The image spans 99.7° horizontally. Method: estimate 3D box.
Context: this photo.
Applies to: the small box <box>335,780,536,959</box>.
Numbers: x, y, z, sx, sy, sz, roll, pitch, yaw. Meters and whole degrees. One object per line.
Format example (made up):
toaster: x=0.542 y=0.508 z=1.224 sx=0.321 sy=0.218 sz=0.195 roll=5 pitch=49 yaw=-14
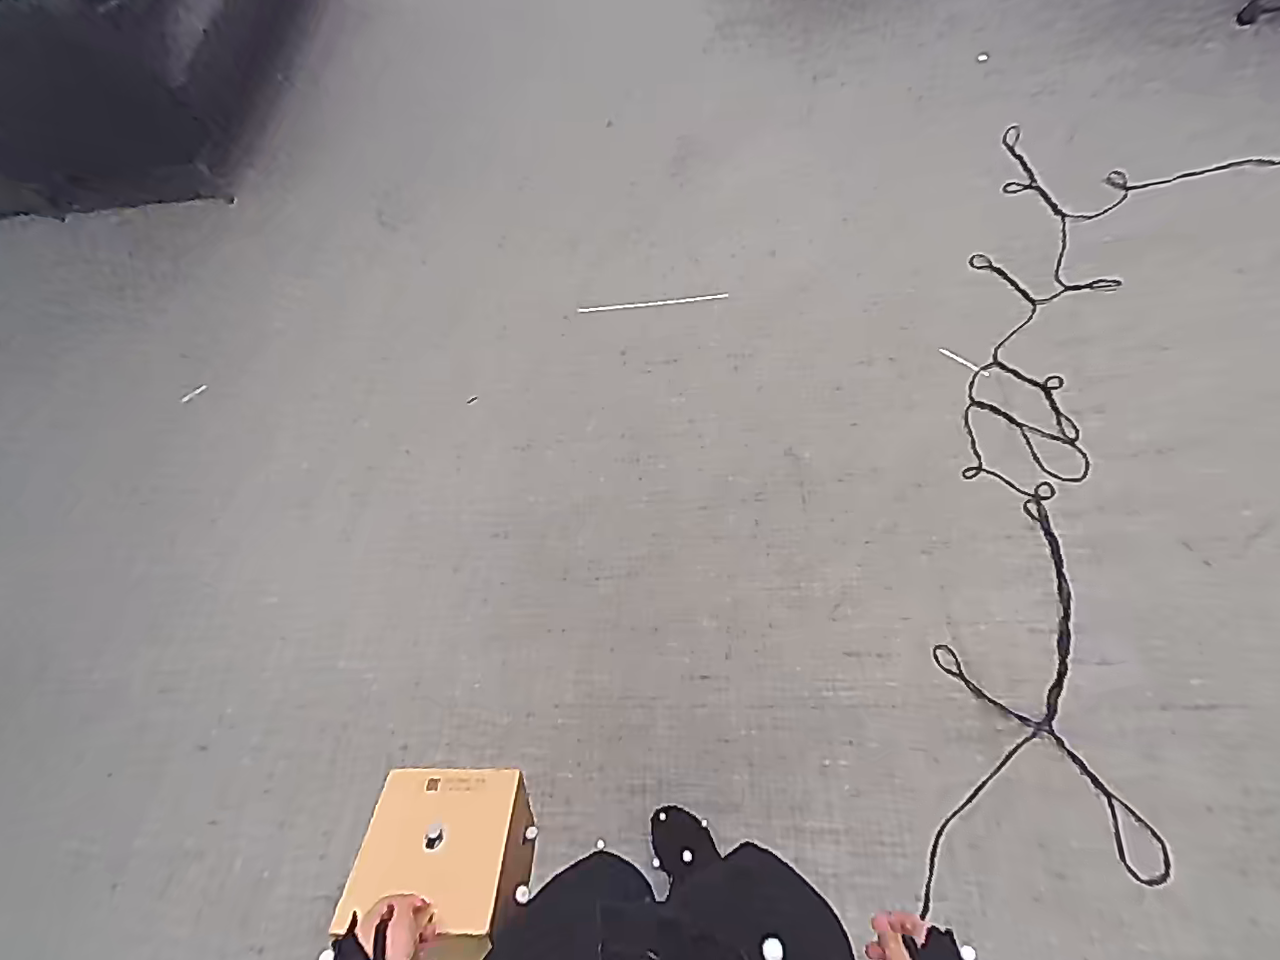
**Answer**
small box: x=-0.226 y=0.485 z=0.652 sx=0.168 sy=0.179 sz=0.176 roll=-1 pitch=34 yaw=0
